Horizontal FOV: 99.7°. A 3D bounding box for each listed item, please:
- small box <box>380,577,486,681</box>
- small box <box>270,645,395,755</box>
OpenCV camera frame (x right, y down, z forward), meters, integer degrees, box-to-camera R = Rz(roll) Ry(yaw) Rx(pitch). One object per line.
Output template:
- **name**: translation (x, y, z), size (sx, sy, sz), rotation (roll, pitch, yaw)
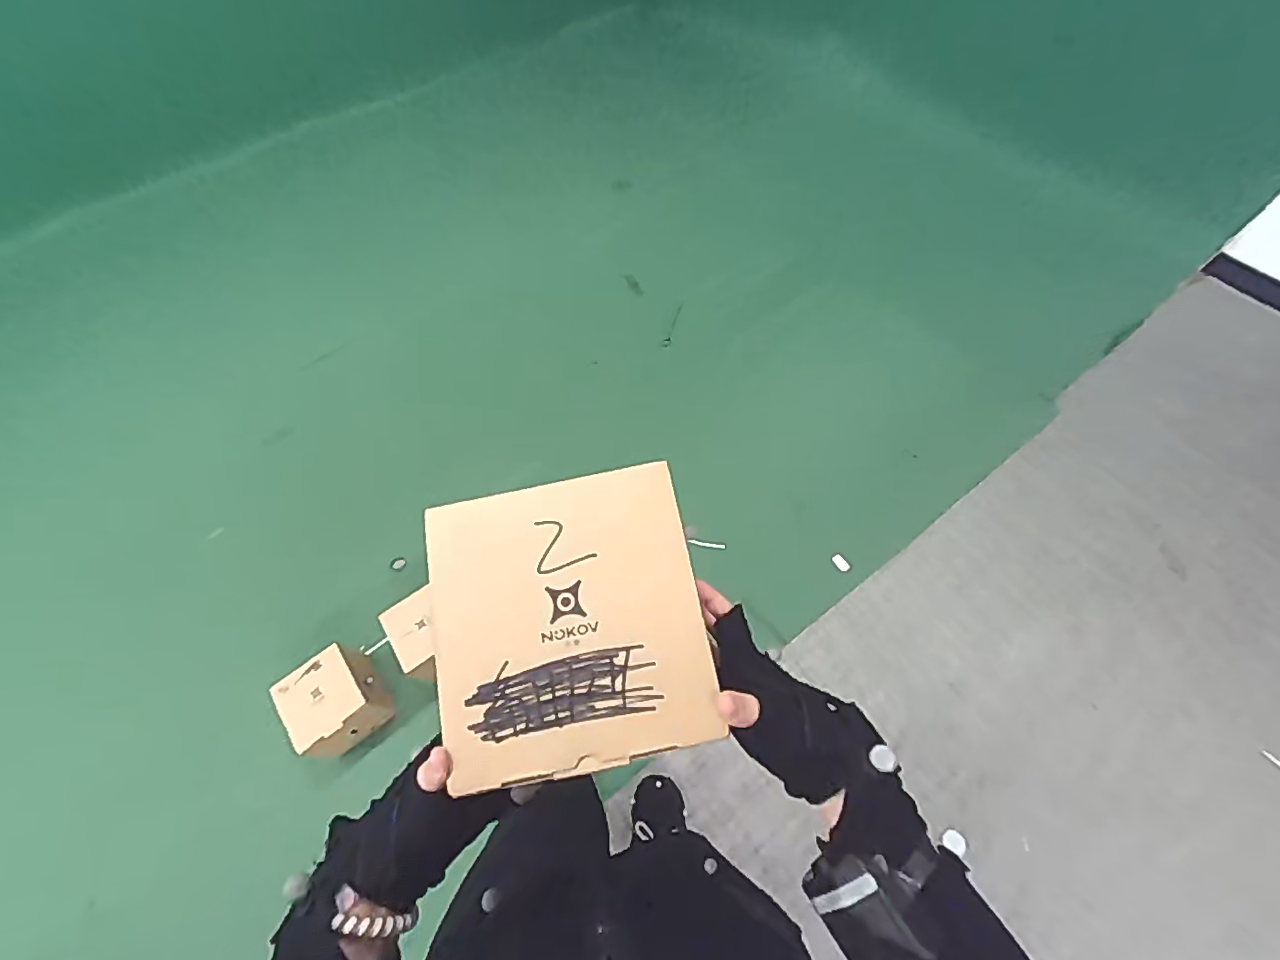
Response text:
- **small box**: translation (-0.502, 0.374, 1.346), size (0.179, 0.176, 0.168), rotation (-33, 66, -13)
- **small box**: translation (-0.716, 0.520, 1.280), size (0.168, 0.176, 0.179), rotation (-36, 68, -15)
